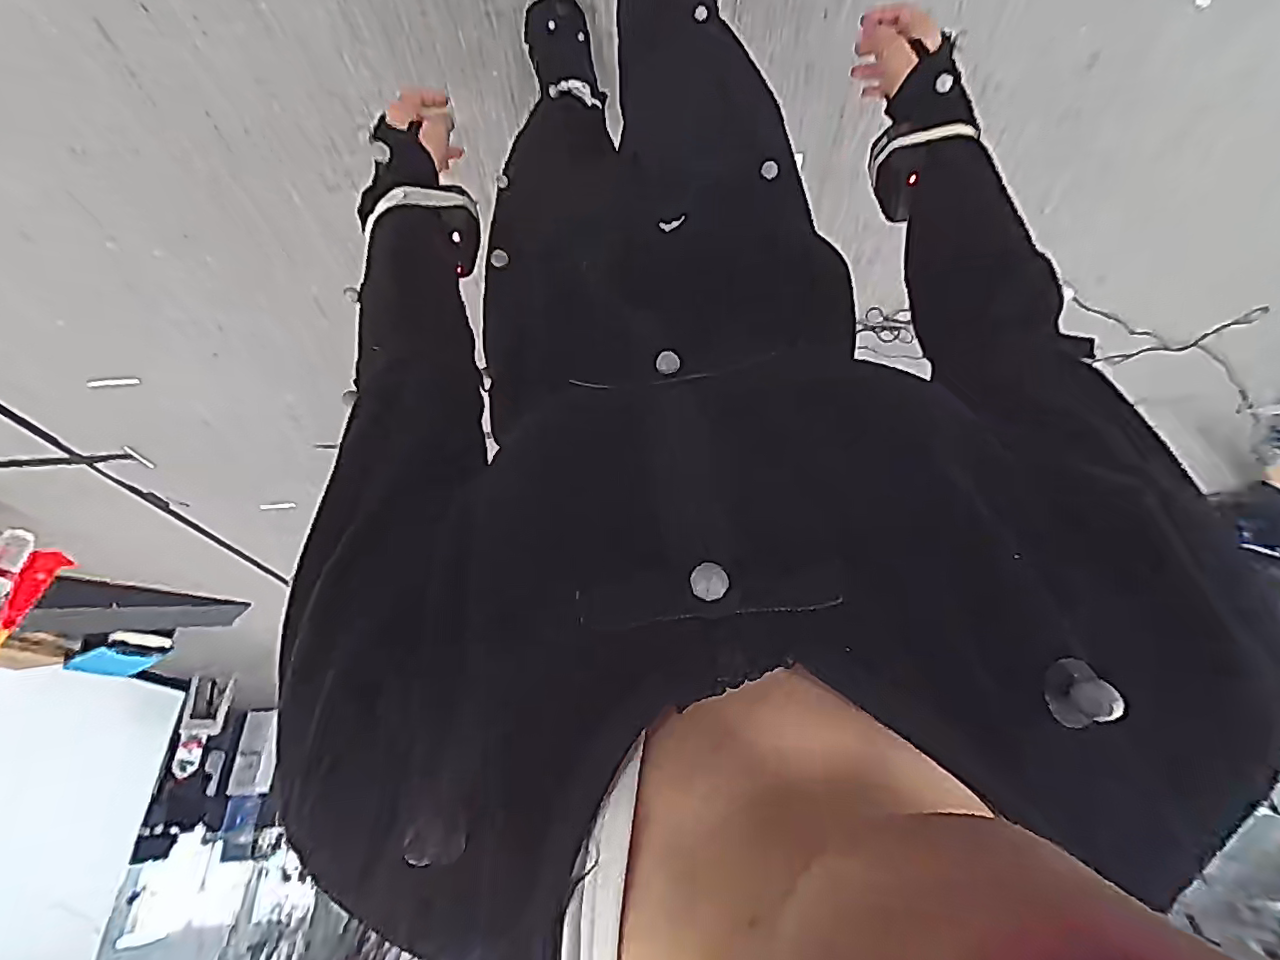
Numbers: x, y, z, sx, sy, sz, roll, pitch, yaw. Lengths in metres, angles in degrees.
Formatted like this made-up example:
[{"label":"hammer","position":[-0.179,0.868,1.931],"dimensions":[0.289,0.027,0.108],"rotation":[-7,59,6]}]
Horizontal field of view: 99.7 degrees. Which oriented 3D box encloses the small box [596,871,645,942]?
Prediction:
[{"label":"small box","position":[-0.071,1.538,1.957],"dimensions":[0.168,0.176,0.179],"rotation":[-3,151,-2]}]
